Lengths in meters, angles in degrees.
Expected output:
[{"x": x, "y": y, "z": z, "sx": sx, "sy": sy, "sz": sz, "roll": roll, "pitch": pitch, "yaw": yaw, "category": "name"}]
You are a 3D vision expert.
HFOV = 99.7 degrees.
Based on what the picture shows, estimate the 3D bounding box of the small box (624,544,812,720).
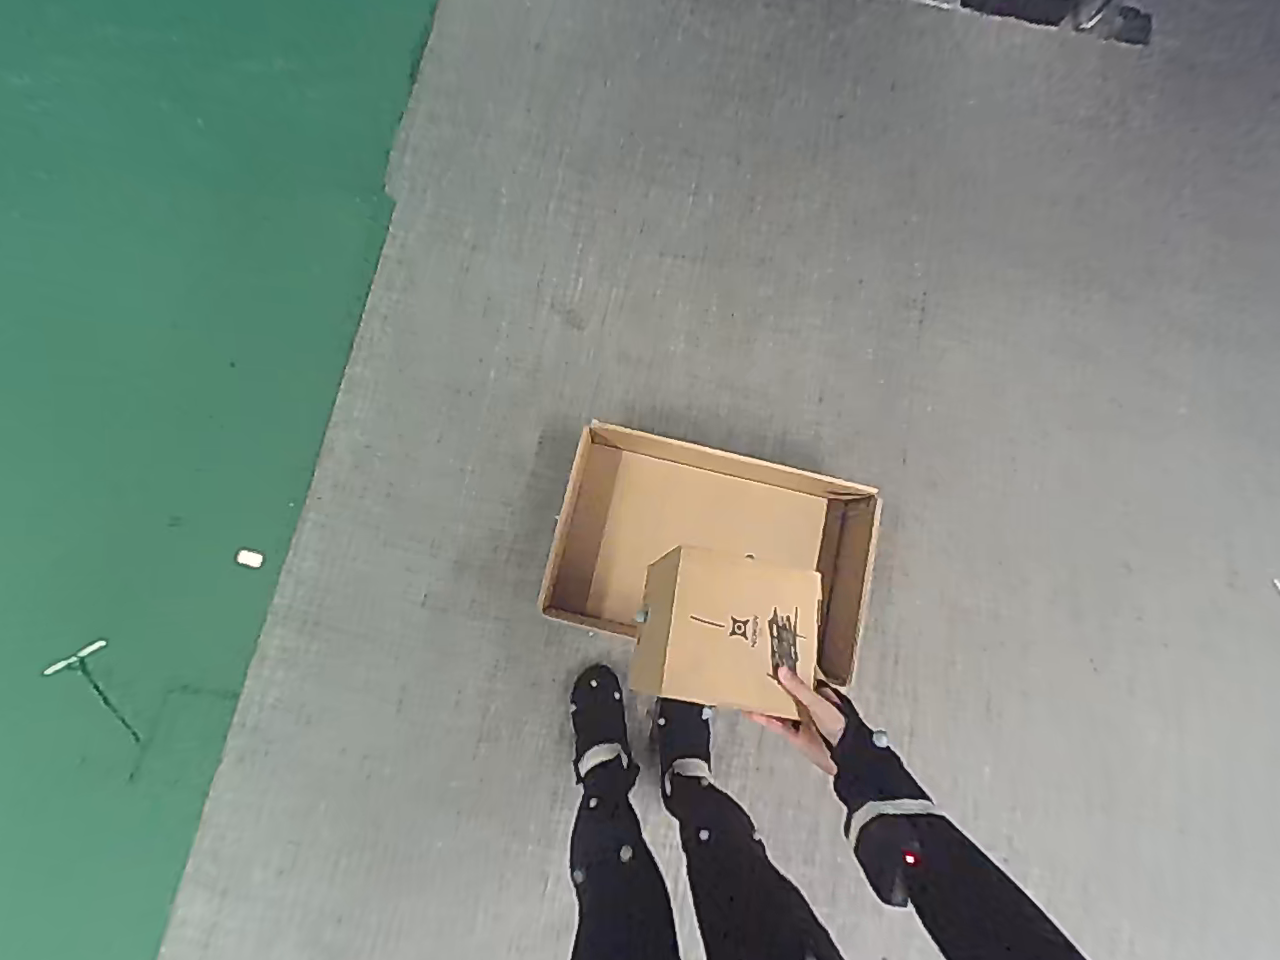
[{"x": 0.091, "y": 0.190, "z": 0.676, "sx": 0.179, "sy": 0.176, "sz": 0.168, "roll": 13, "pitch": 69, "yaw": -7, "category": "small box"}]
